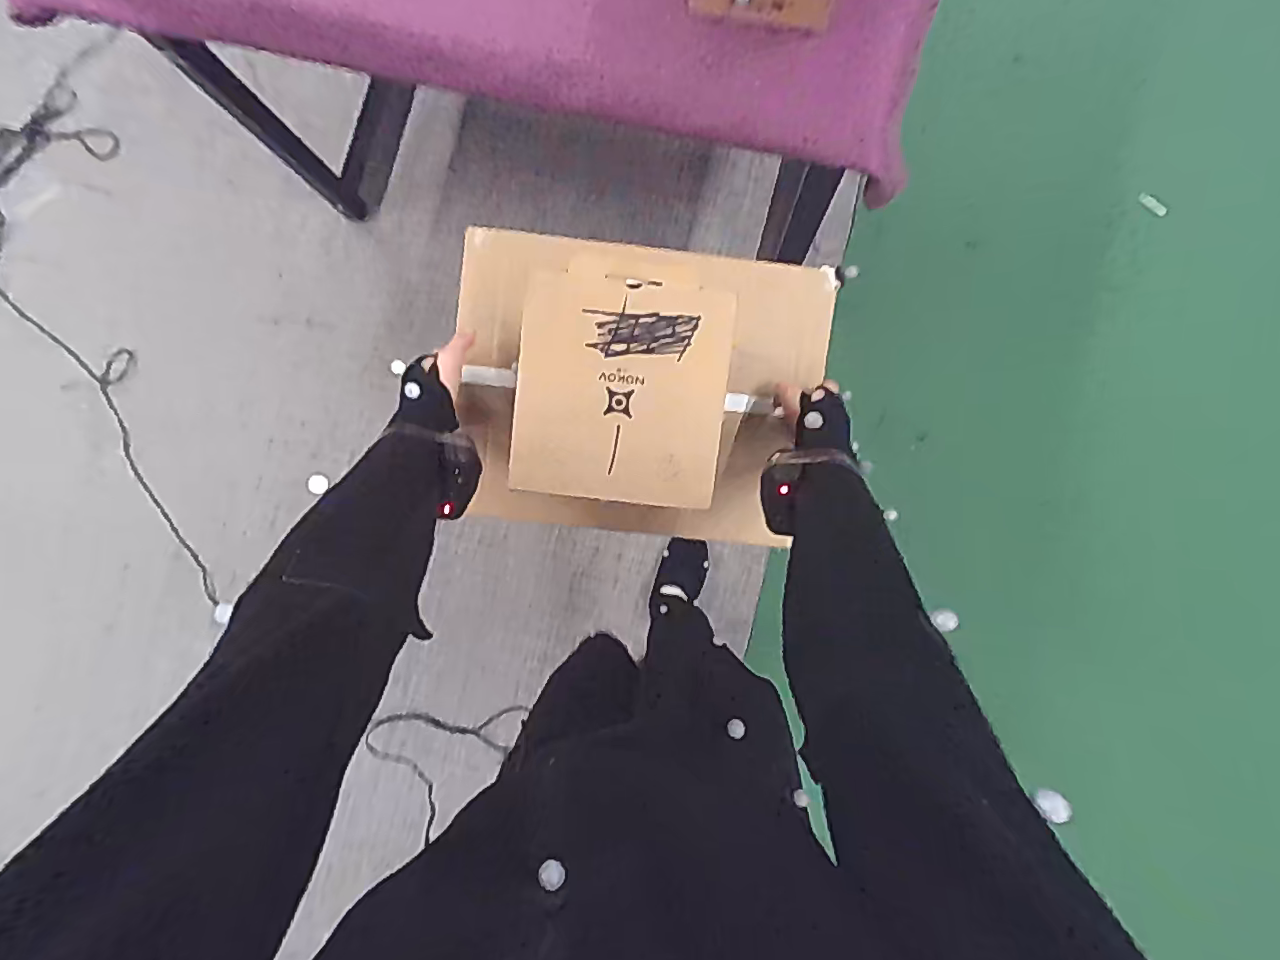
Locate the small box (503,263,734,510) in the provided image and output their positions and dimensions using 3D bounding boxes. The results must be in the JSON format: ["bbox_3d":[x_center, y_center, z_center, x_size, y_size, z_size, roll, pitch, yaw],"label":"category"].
[{"bbox_3d":[-0.020,-0.078,0.502,0.168,0.176,0.179,7,96,-1],"label":"small box"}]

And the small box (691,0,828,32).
[{"bbox_3d":[0.146,-0.638,0.574,0.168,0.176,0.179,12,86,7],"label":"small box"}]
